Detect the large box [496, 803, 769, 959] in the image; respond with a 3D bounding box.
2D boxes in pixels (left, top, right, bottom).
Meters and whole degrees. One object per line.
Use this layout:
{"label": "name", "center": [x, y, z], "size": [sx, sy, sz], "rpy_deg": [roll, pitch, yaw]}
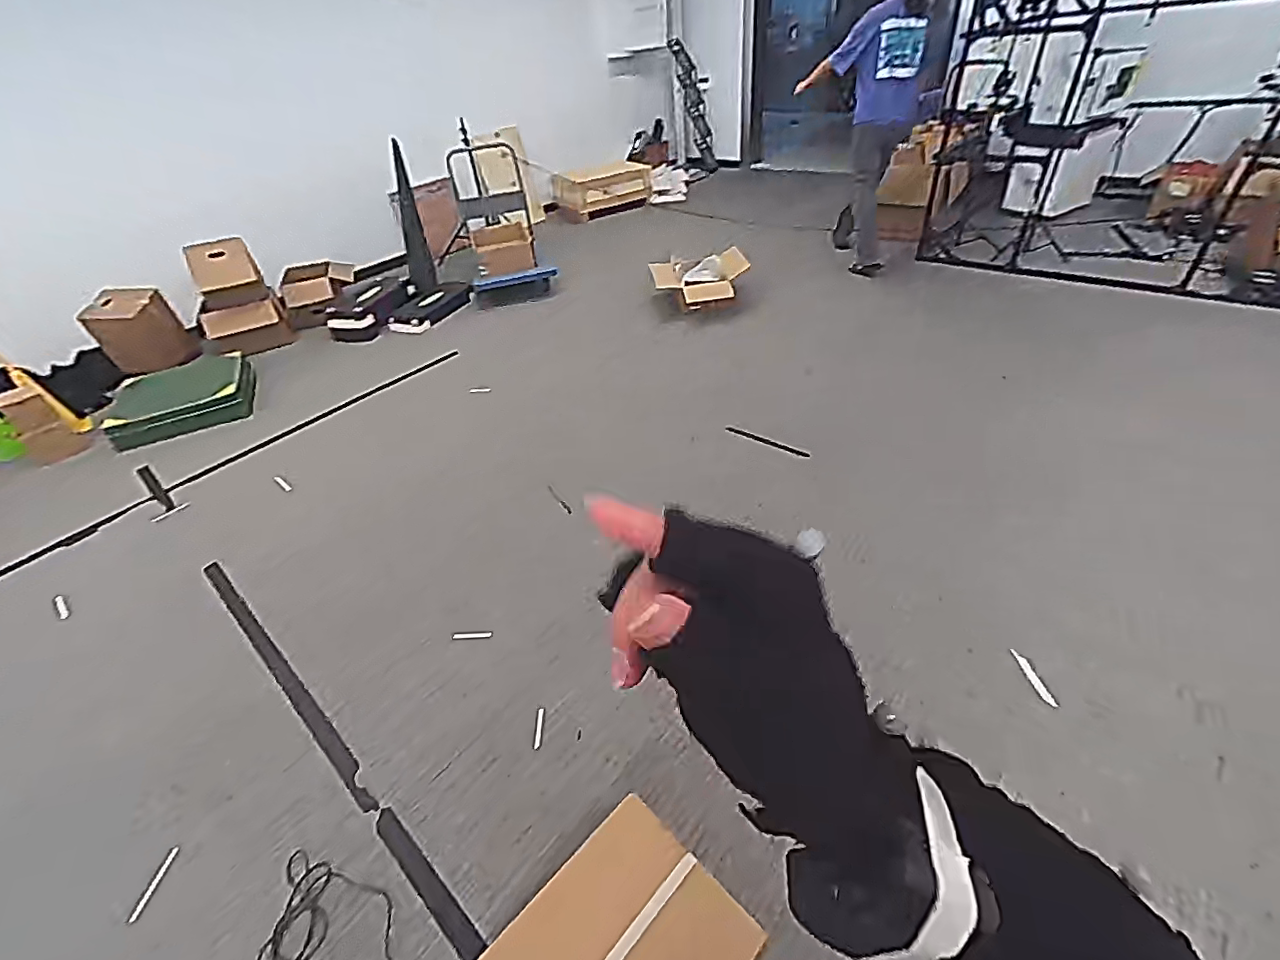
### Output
{"label": "large box", "center": [-0.023, 0.879, 0.928], "size": [0.408, 0.320, 0.320], "rpy_deg": [-35, 46, -30]}
